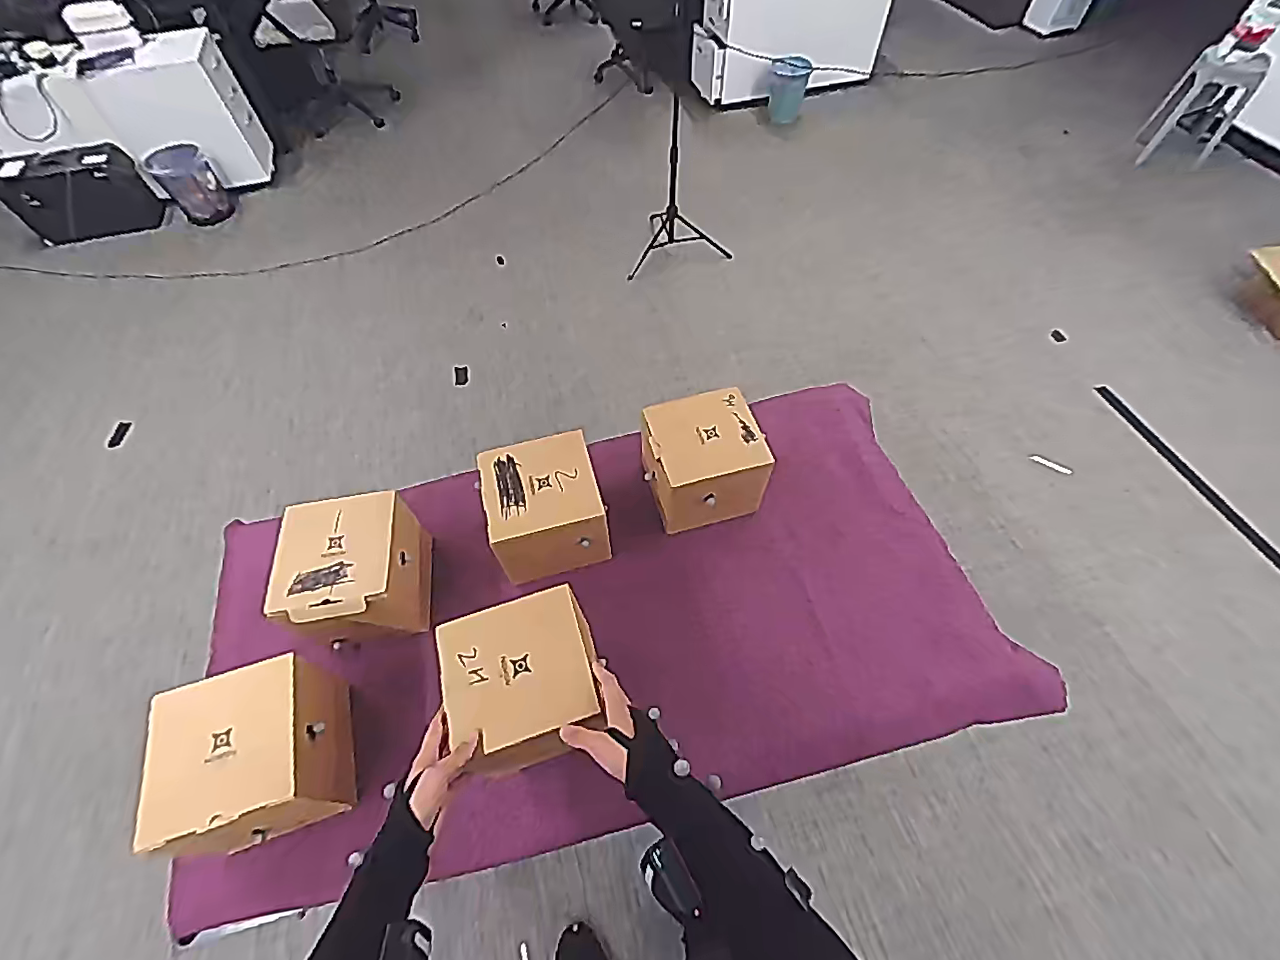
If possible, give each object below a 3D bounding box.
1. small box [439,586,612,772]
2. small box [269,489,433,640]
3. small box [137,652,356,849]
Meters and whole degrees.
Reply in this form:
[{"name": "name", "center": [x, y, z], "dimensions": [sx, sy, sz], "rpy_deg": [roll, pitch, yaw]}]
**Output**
[{"name": "small box", "center": [-0.140, 0.263, 0.706], "dimensions": [0.179, 0.176, 0.168], "rpy_deg": [-17, 58, -6]}, {"name": "small box", "center": [-0.434, 0.139, 0.844], "dimensions": [0.168, 0.176, 0.179], "rpy_deg": [-9, 58, -5]}, {"name": "small box", "center": [-0.493, 0.354, 0.706], "dimensions": [0.168, 0.176, 0.179], "rpy_deg": [-16, 59, -11]}]
